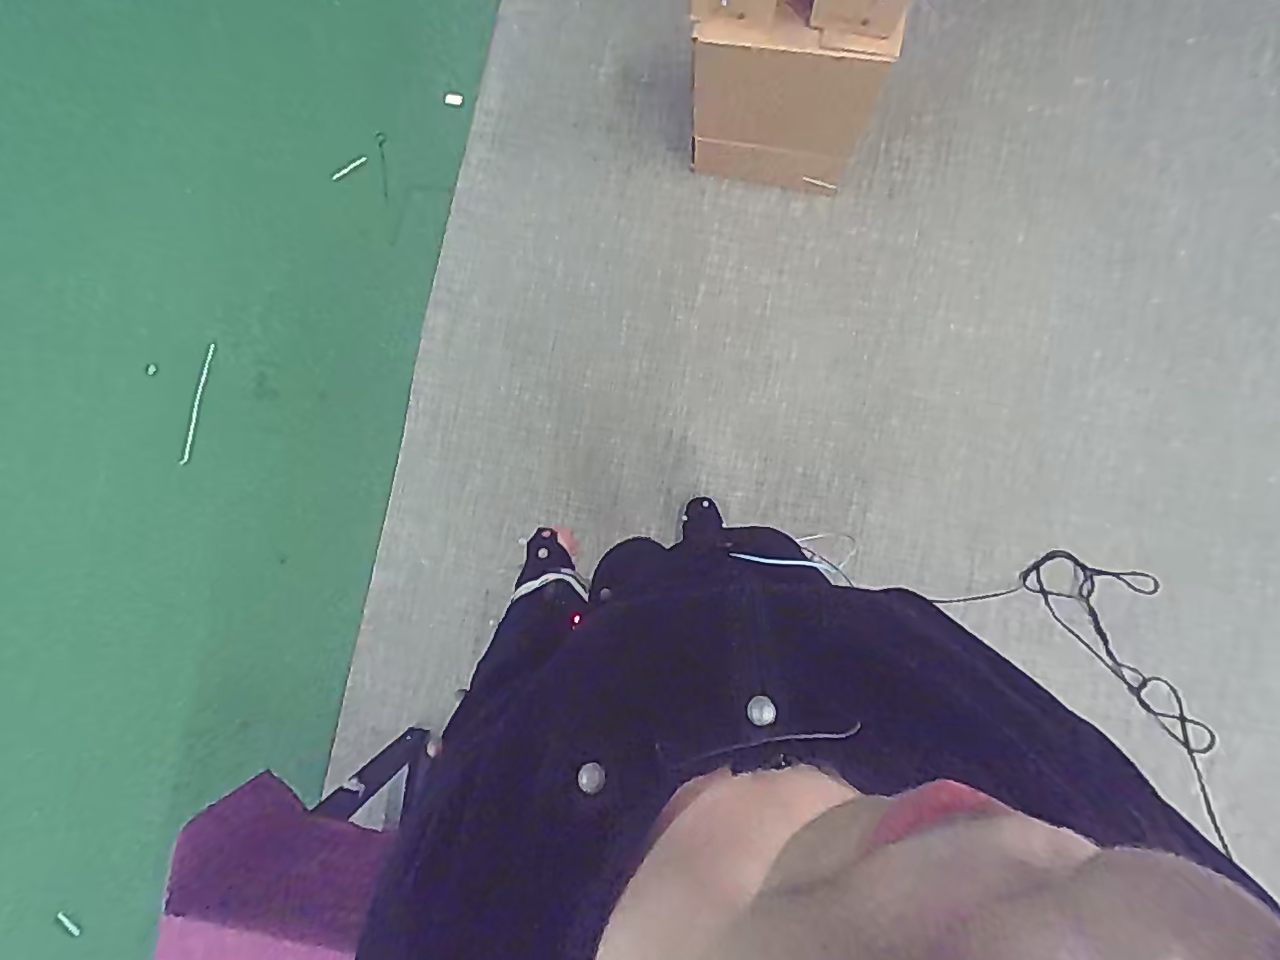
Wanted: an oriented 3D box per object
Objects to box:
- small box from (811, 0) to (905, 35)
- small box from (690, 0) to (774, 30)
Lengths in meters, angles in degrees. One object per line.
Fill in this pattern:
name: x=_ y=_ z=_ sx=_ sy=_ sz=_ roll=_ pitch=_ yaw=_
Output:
small box: x=0.423 y=-0.966 z=0.983 sx=0.168 sy=0.176 sz=0.179 roll=15 pitch=88 yaw=6
small box: x=0.189 y=-1.001 z=1.005 sx=0.168 sy=0.176 sz=0.179 roll=12 pitch=90 yaw=4
